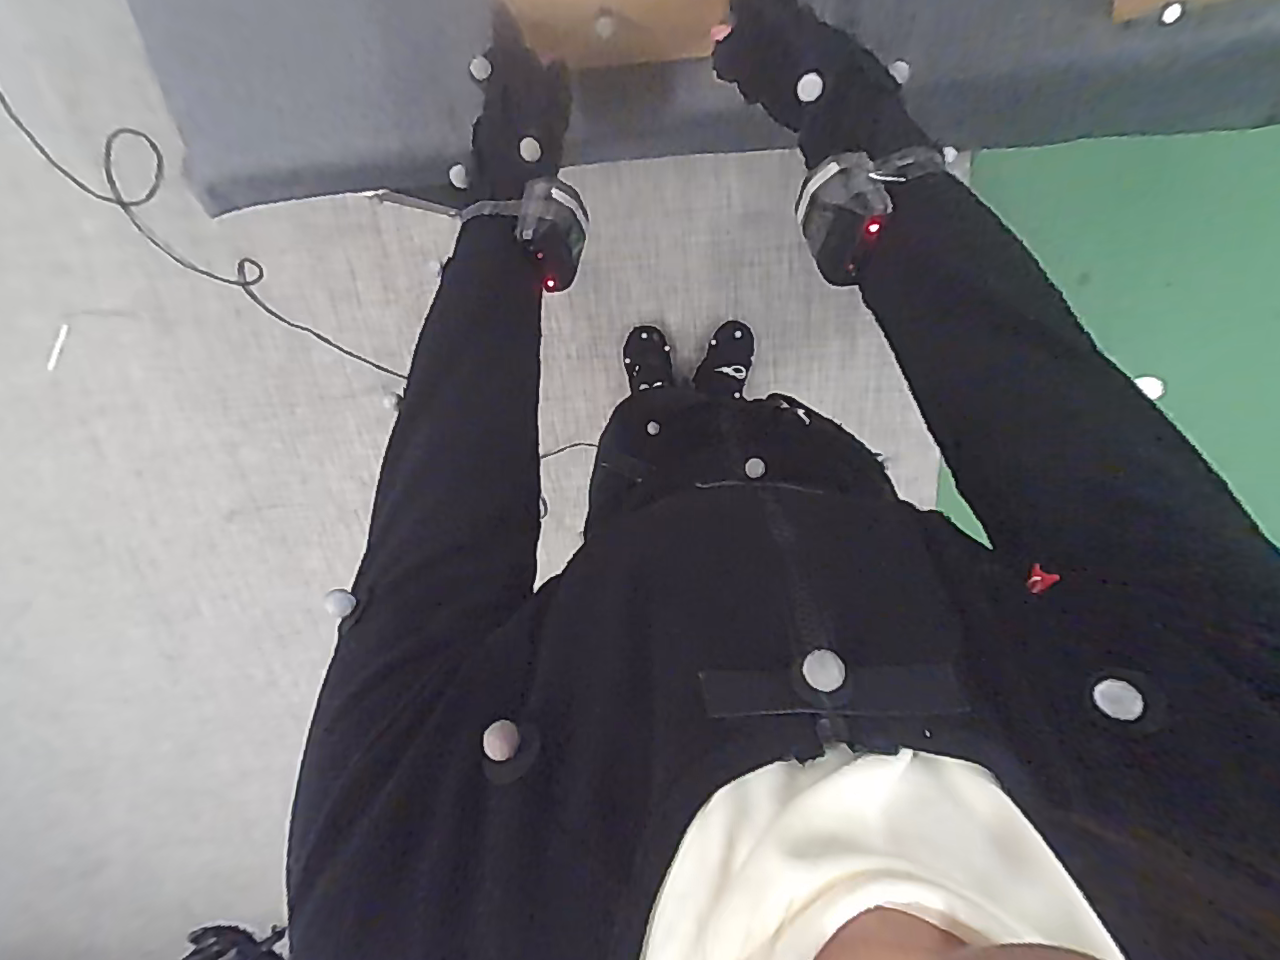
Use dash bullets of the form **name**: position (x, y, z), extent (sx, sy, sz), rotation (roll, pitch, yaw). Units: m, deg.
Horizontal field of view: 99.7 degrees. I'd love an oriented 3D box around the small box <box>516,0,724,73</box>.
- **small box**: position (-0.019, -0.457, 0.433), extent (0.179, 0.176, 0.168), rotation (-4, 109, 2)
